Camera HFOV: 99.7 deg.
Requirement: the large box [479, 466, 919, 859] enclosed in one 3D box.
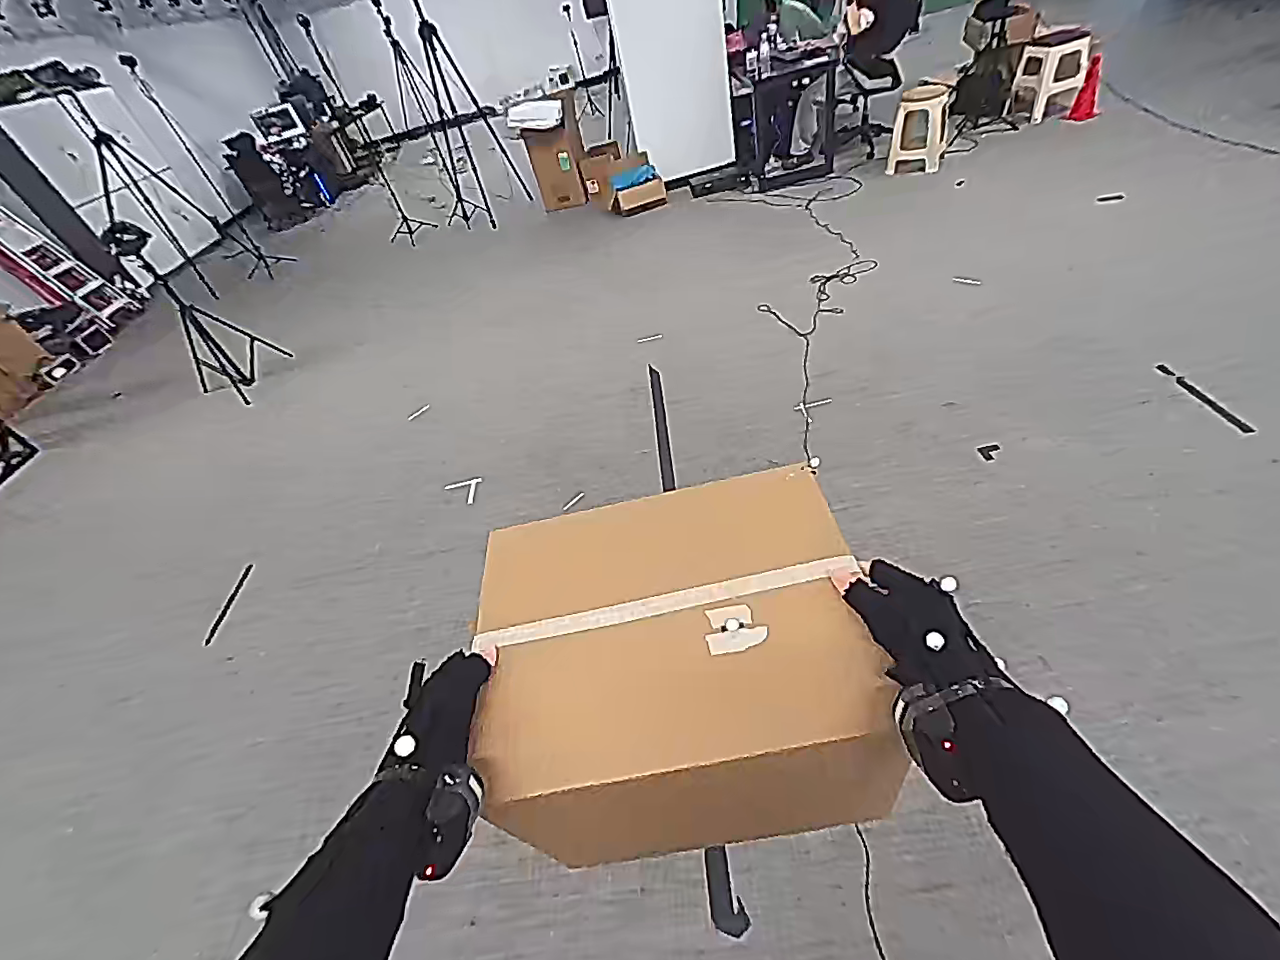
[{"bbox_3d":[0.058,0.233,0.678,0.408,0.320,0.320,-12,45,4],"label":"large box"}]
